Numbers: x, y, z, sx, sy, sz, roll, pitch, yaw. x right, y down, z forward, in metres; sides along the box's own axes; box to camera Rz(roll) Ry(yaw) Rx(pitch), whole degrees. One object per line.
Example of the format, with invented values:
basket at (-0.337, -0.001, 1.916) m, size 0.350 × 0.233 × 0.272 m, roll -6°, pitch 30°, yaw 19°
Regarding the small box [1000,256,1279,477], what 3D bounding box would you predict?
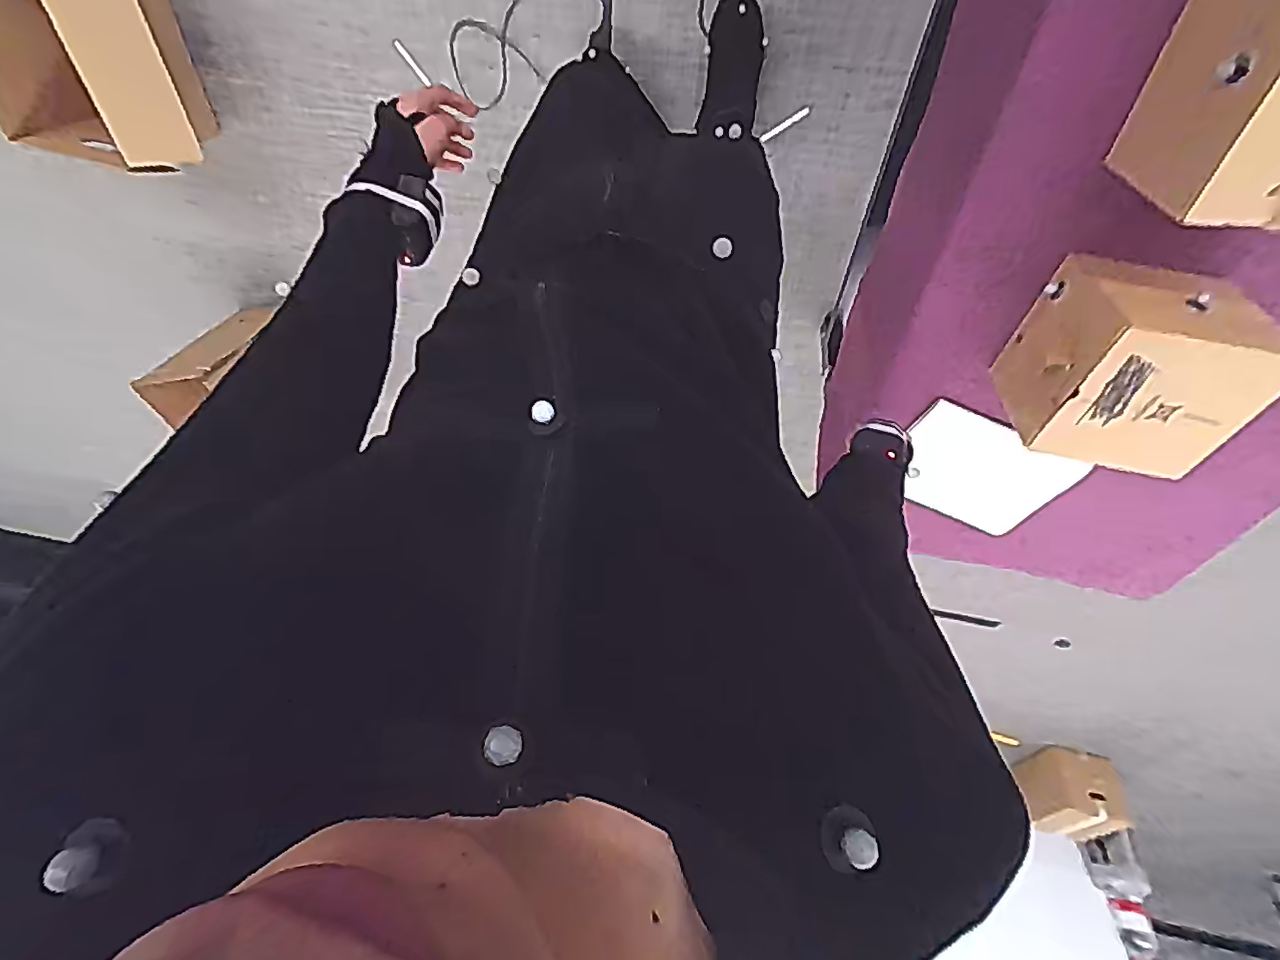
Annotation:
small box at (0.554, -0.133, 0.614) m, size 0.179 × 0.176 × 0.168 m, roll 12°, pitch 137°, yaw 3°
